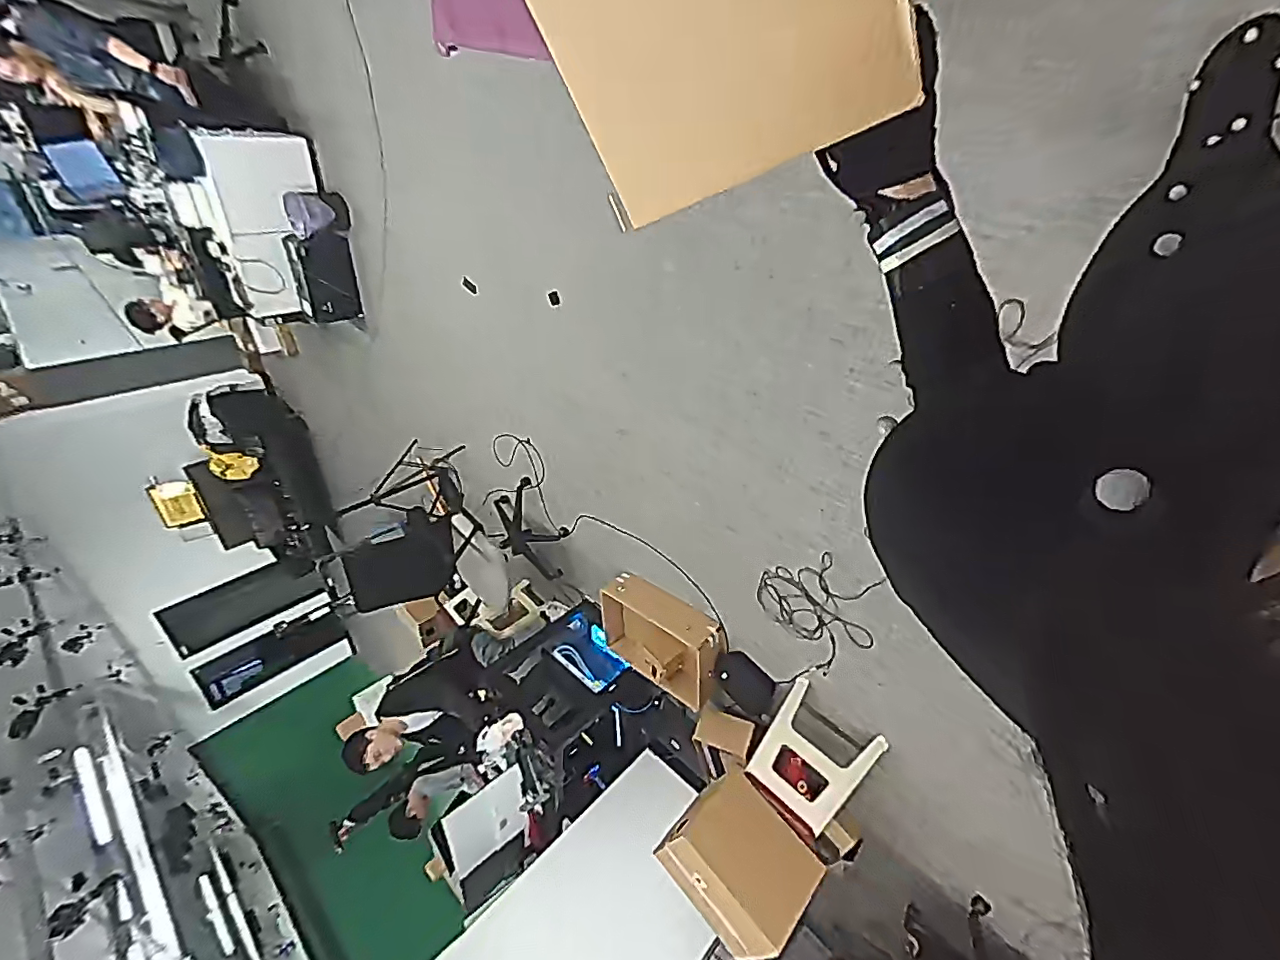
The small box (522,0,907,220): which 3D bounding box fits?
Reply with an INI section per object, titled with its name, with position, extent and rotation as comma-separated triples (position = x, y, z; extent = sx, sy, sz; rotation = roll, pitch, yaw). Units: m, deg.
[small box]
position = 0.042, -0.294, 0.312
extent = 0.168, 0.179, 0.176
rotation = -13, 132, 28
